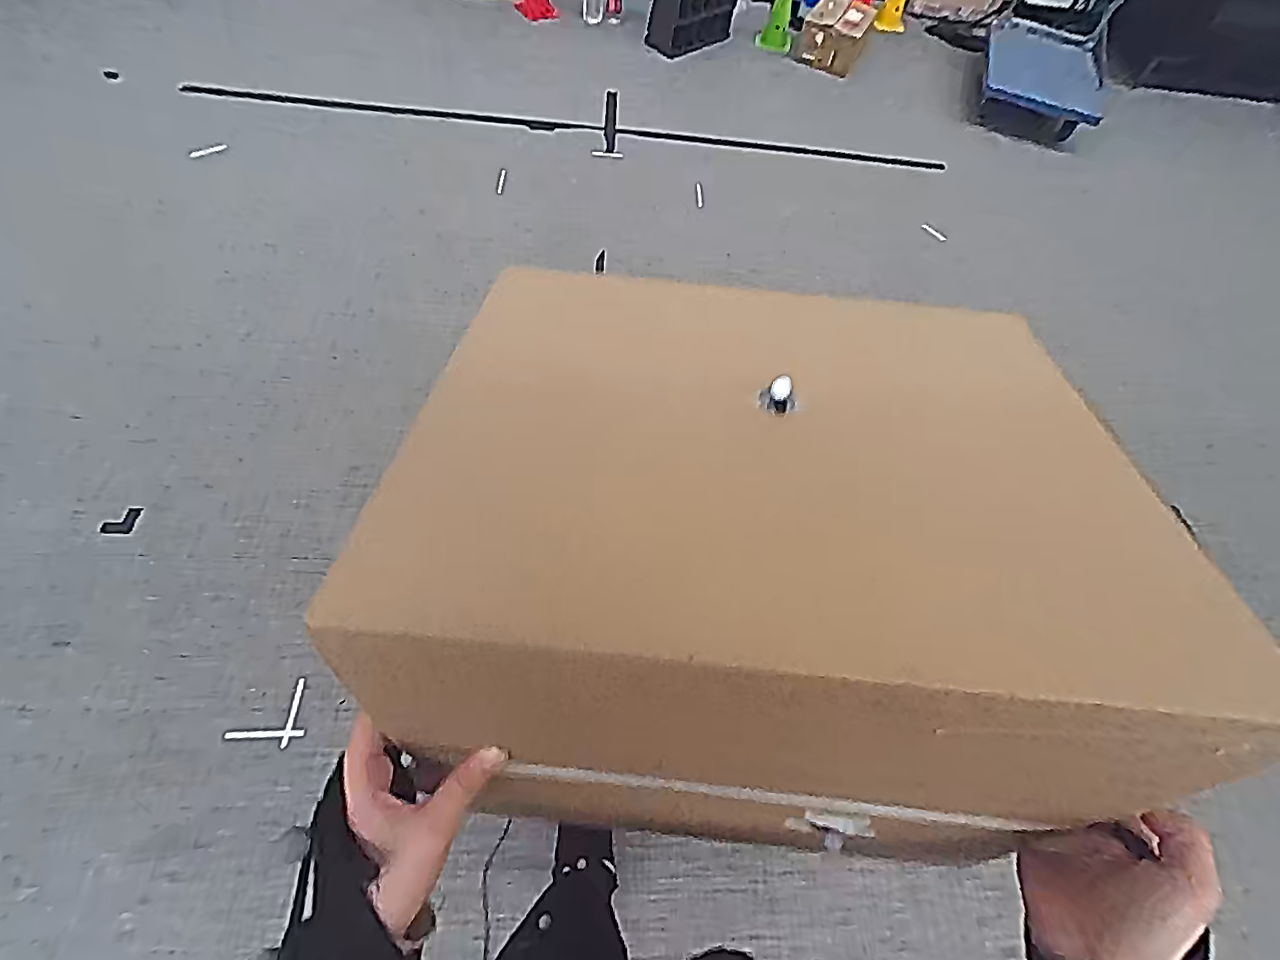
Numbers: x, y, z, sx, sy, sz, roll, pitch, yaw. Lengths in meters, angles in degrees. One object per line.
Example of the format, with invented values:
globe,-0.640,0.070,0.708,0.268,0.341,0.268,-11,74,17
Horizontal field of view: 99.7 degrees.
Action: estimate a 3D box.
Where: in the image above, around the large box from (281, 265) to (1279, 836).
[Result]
large box,0.055,0.055,0.420,0.408,0.320,0.320,4,49,1
